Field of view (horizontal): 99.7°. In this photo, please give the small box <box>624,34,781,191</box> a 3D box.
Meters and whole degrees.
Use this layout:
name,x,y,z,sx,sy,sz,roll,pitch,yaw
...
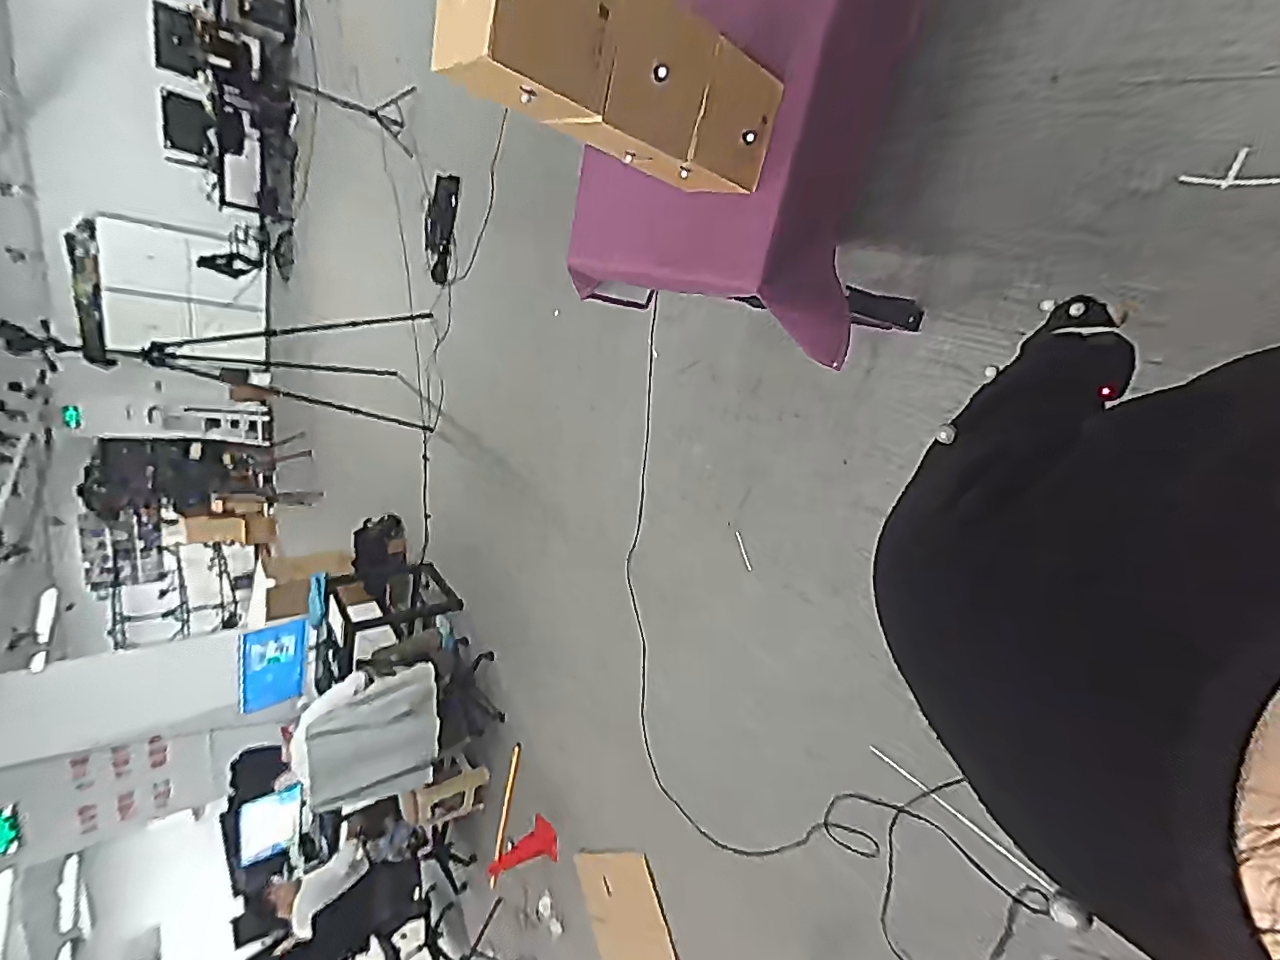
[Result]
name,x,y,z,sx,sy,sz,roll,pitch,yaw
small box,0.104,-0.605,0.916,0.179,0.176,0.168,31,115,42

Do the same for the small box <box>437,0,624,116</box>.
name,x,y,z,sx,sy,sz,roll,pitch,yaw
small box,-0.140,-0.595,0.697,0.179,0.176,0.168,33,116,42
